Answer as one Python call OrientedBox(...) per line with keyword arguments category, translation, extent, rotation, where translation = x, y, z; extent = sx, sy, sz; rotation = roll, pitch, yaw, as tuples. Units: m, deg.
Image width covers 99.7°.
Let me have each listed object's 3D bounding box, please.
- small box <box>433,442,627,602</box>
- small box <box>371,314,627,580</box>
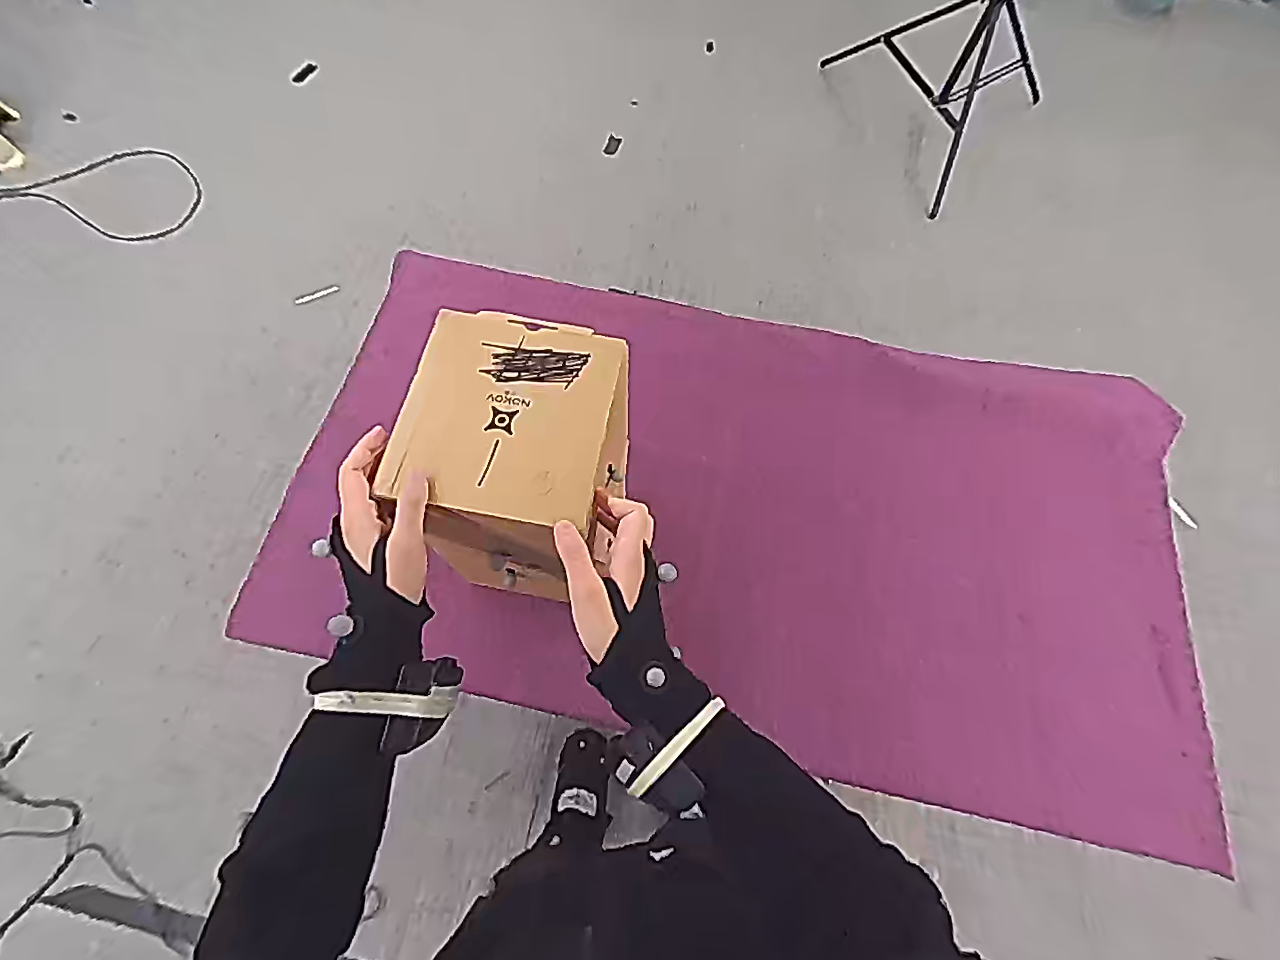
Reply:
OrientedBox(category="small box", translation=(-0.117, 0.044, 0.659), extent=(0.179, 0.176, 0.168), rotation=(11, 67, 3))
OrientedBox(category="small box", translation=(-0.110, -0.021, 0.507), extent=(0.168, 0.176, 0.179), rotation=(11, 67, 3))
